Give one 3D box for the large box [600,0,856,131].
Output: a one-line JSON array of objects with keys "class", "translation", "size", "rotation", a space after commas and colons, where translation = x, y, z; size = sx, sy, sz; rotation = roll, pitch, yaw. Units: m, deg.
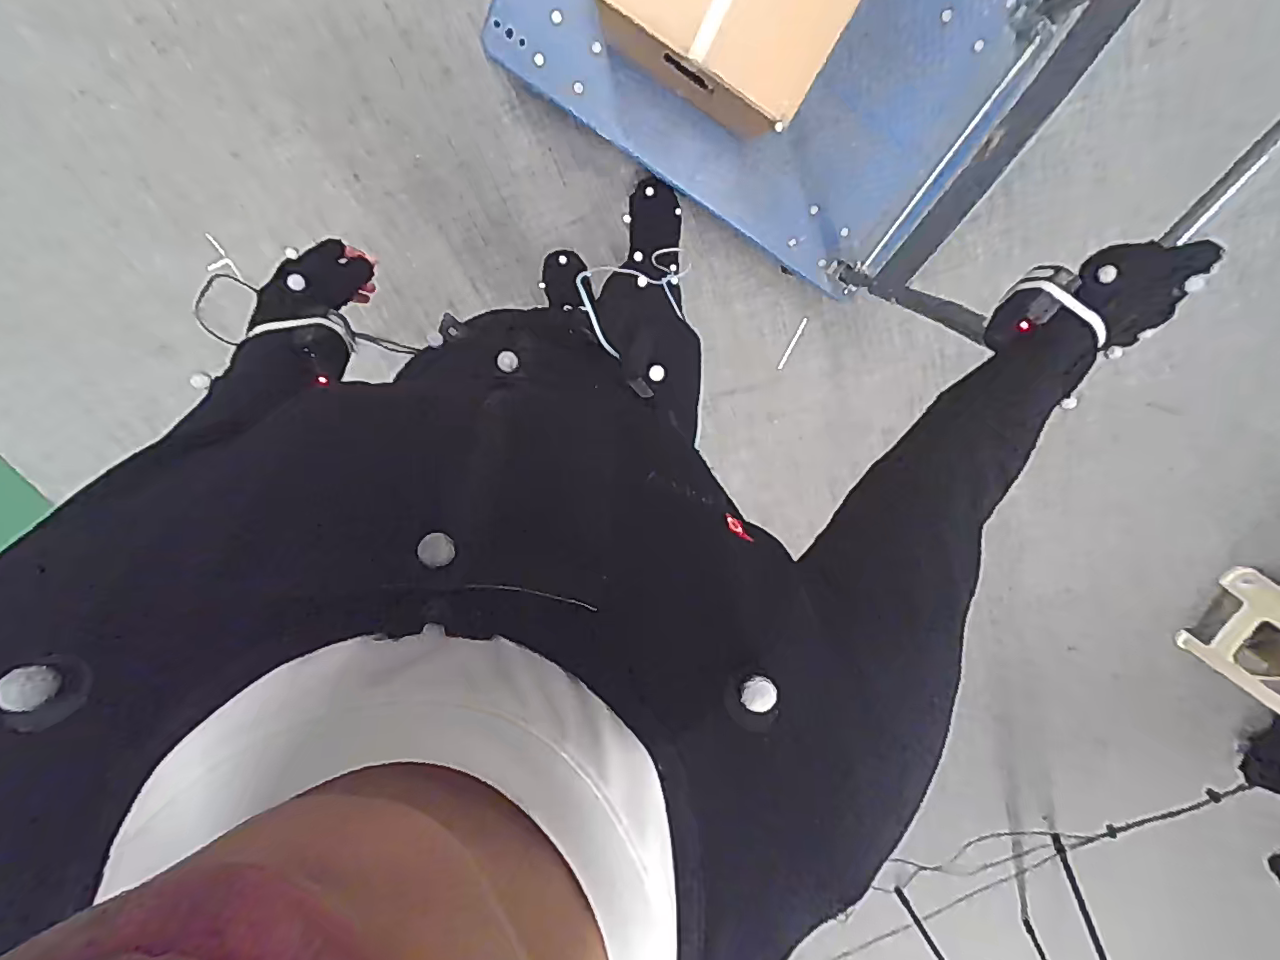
[{"class": "large box", "translation": [0.169, -0.795, 0.771], "size": [0.320, 0.320, 0.408], "rotation": [26, 117, -13]}]
